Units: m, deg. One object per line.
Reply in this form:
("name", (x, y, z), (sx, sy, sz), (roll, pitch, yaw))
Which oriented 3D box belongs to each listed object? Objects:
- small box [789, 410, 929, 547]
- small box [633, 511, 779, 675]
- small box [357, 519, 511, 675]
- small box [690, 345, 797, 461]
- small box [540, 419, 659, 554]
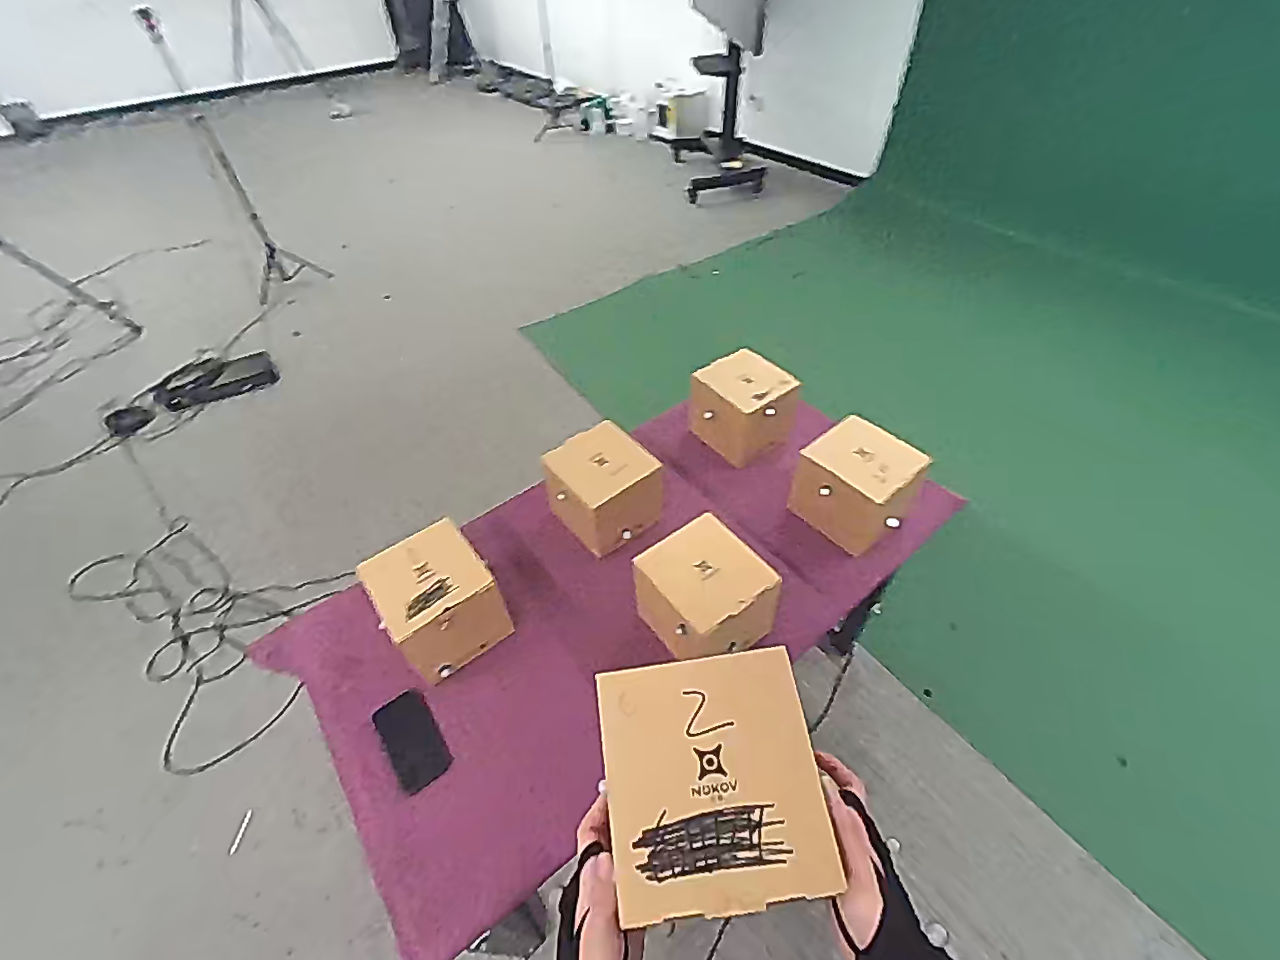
("small box", (0.418, -0.002, 1.065), (0.168, 0.176, 0.179), (-34, 55, -23))
("small box", (0.105, 0.192, 0.915), (0.168, 0.176, 0.179), (-30, 52, -22))
("small box", (-0.344, 0.207, 0.928), (0.168, 0.176, 0.179), (-32, 53, -24))
("small box", (0.228, -0.174, 1.238), (0.168, 0.176, 0.179), (-31, 53, -22))
("small box", (-0.077, 0.015, 1.088), (0.168, 0.176, 0.179), (-33, 54, -23))
